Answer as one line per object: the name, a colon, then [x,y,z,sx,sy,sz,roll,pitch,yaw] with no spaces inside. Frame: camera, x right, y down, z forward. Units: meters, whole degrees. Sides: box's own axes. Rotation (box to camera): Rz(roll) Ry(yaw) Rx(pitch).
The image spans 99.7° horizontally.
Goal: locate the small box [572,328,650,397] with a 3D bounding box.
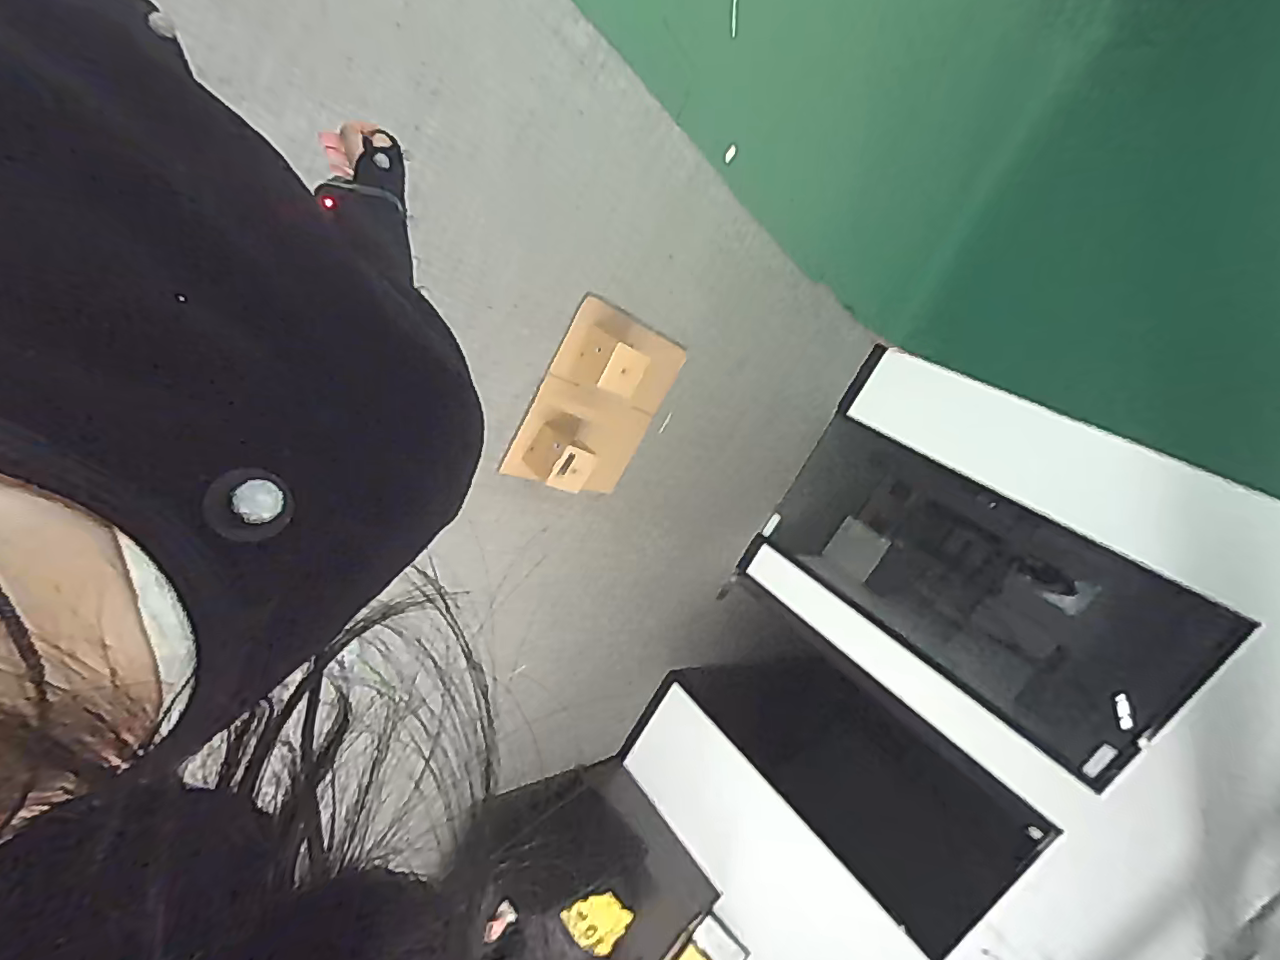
small box: [-0.105,-0.413,1.884,0.179,0.176,0.168,10,113,-51]
